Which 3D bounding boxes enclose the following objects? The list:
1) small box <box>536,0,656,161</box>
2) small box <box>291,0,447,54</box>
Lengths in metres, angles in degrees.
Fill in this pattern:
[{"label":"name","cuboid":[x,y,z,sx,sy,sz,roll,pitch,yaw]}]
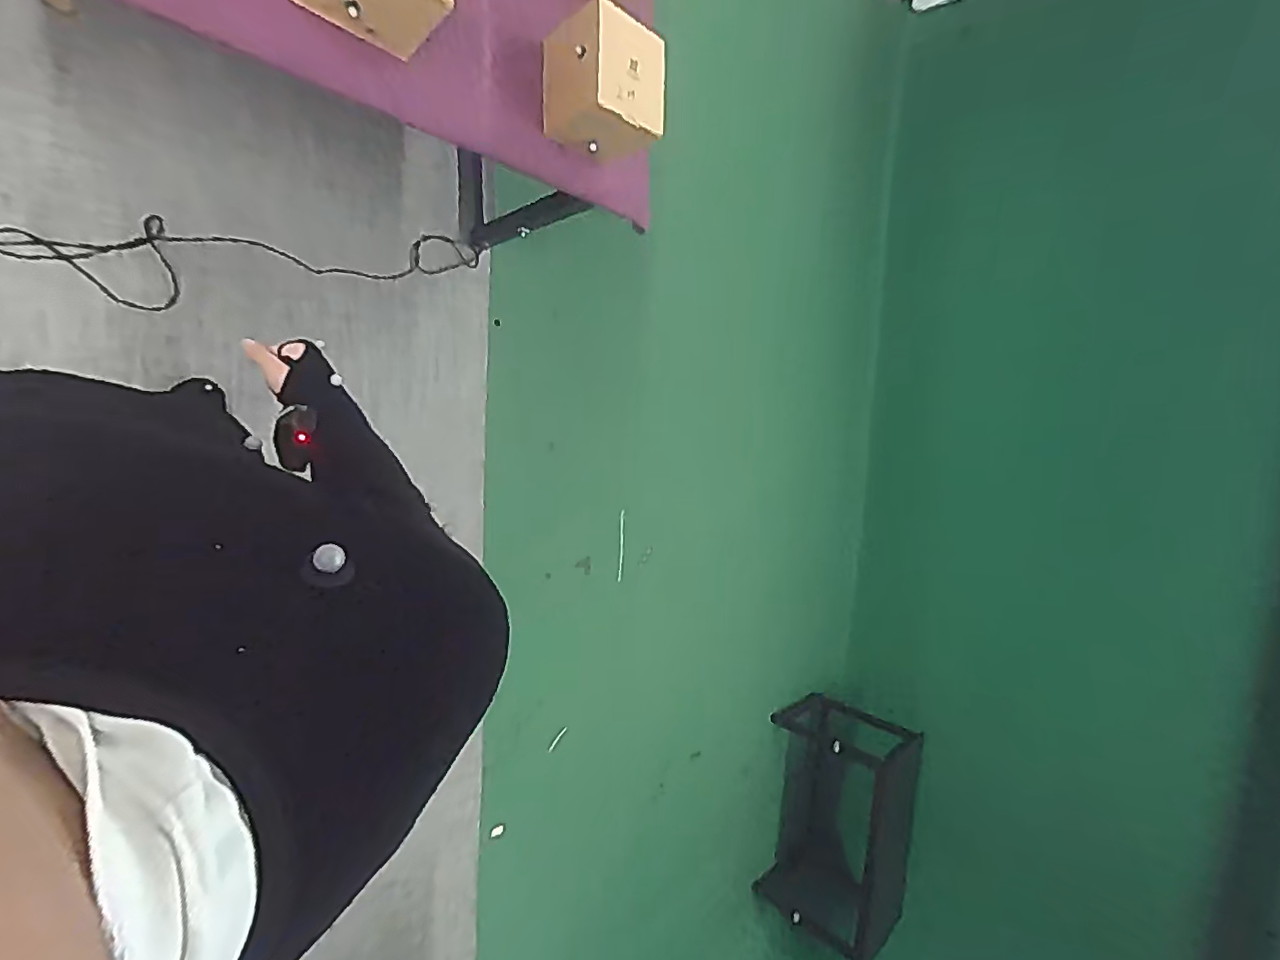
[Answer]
[{"label":"small box","cuboid":[-0.087,-0.756,1.043,0.168,0.176,0.179,-5,100,-44]},{"label":"small box","cuboid":[-0.380,-0.748,0.741,0.168,0.176,0.179,-2,98,-47]}]
